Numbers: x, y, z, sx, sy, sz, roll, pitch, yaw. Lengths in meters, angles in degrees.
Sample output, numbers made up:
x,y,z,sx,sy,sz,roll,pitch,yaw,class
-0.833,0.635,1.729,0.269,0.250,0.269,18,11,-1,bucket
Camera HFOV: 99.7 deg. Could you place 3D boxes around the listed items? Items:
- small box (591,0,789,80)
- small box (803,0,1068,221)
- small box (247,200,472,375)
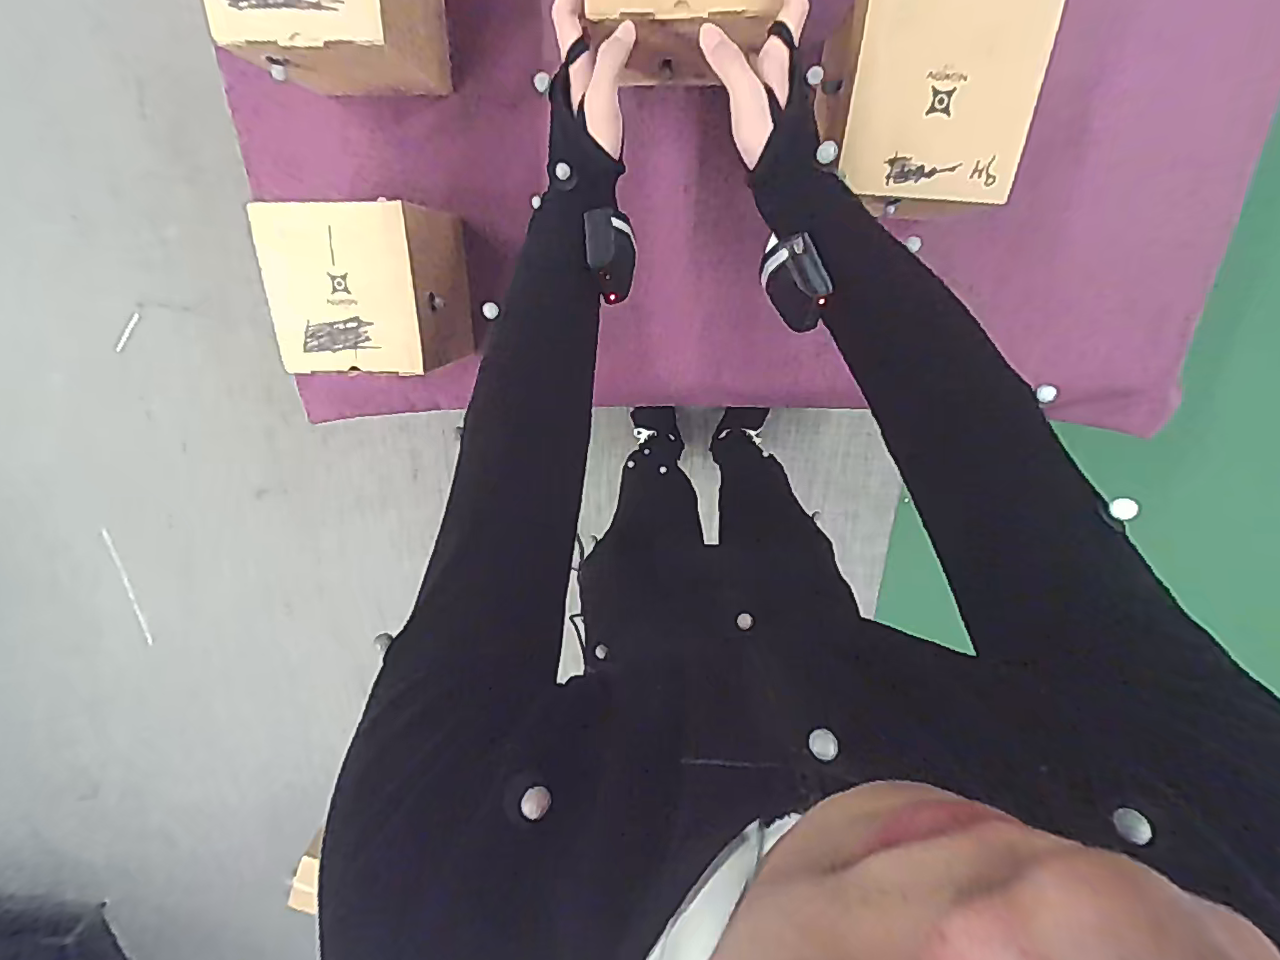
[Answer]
x,y,z,sx,sy,sz,roll,pitch,yaw,class
0.045,-0.493,0.487,0.168,0.176,0.179,1,112,3,small box
0.279,-0.377,0.557,0.168,0.176,0.179,6,111,1,small box
-0.313,-0.228,0.647,0.168,0.176,0.179,1,110,2,small box
